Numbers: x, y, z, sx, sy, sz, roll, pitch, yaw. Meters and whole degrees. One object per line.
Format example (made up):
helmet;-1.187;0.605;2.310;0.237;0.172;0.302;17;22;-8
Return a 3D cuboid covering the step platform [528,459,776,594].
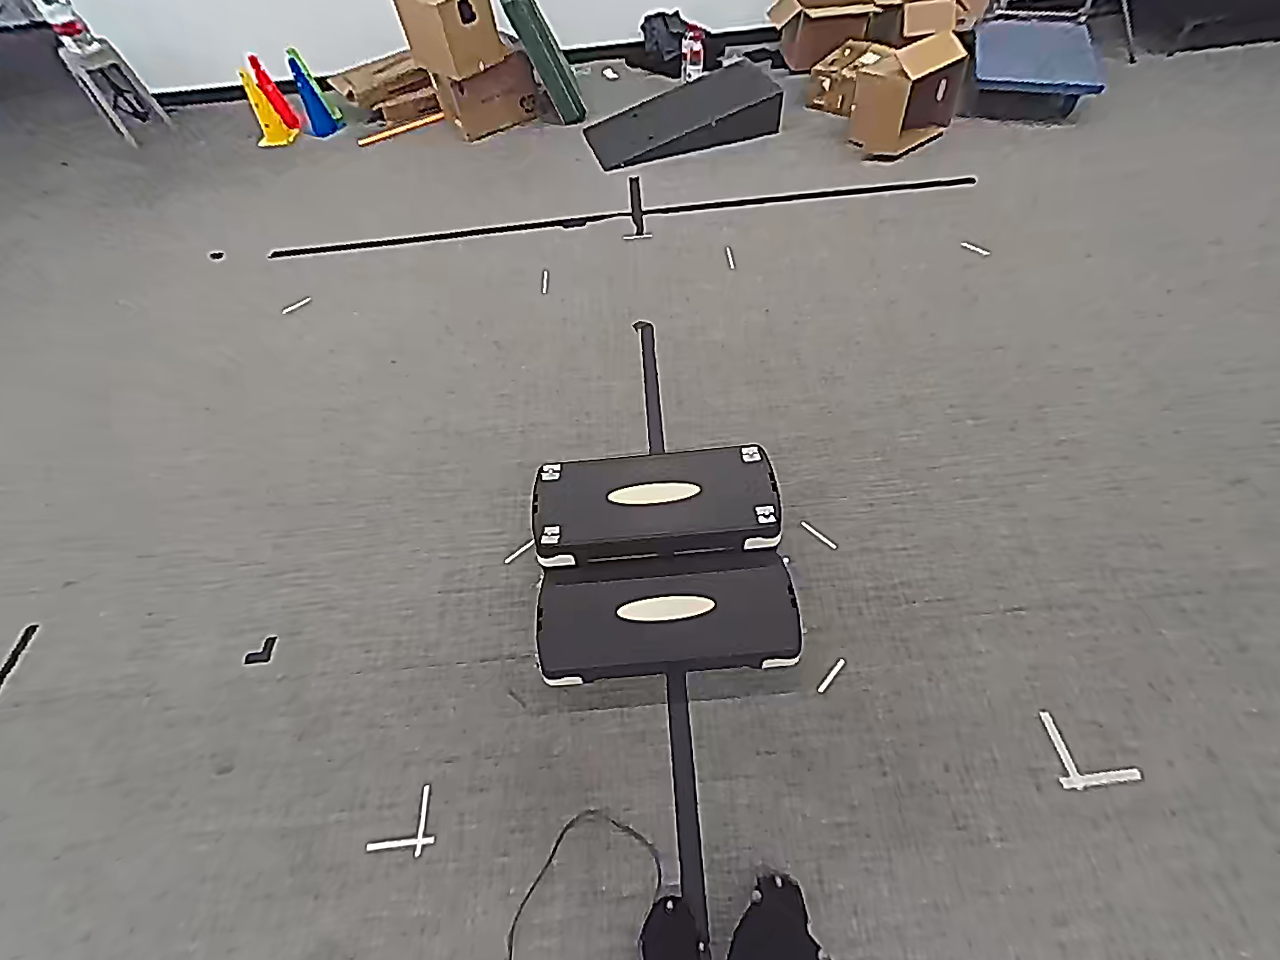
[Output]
step platform;0.030;0.126;1.525;0.684;0.204;0.286;-6;56;0
